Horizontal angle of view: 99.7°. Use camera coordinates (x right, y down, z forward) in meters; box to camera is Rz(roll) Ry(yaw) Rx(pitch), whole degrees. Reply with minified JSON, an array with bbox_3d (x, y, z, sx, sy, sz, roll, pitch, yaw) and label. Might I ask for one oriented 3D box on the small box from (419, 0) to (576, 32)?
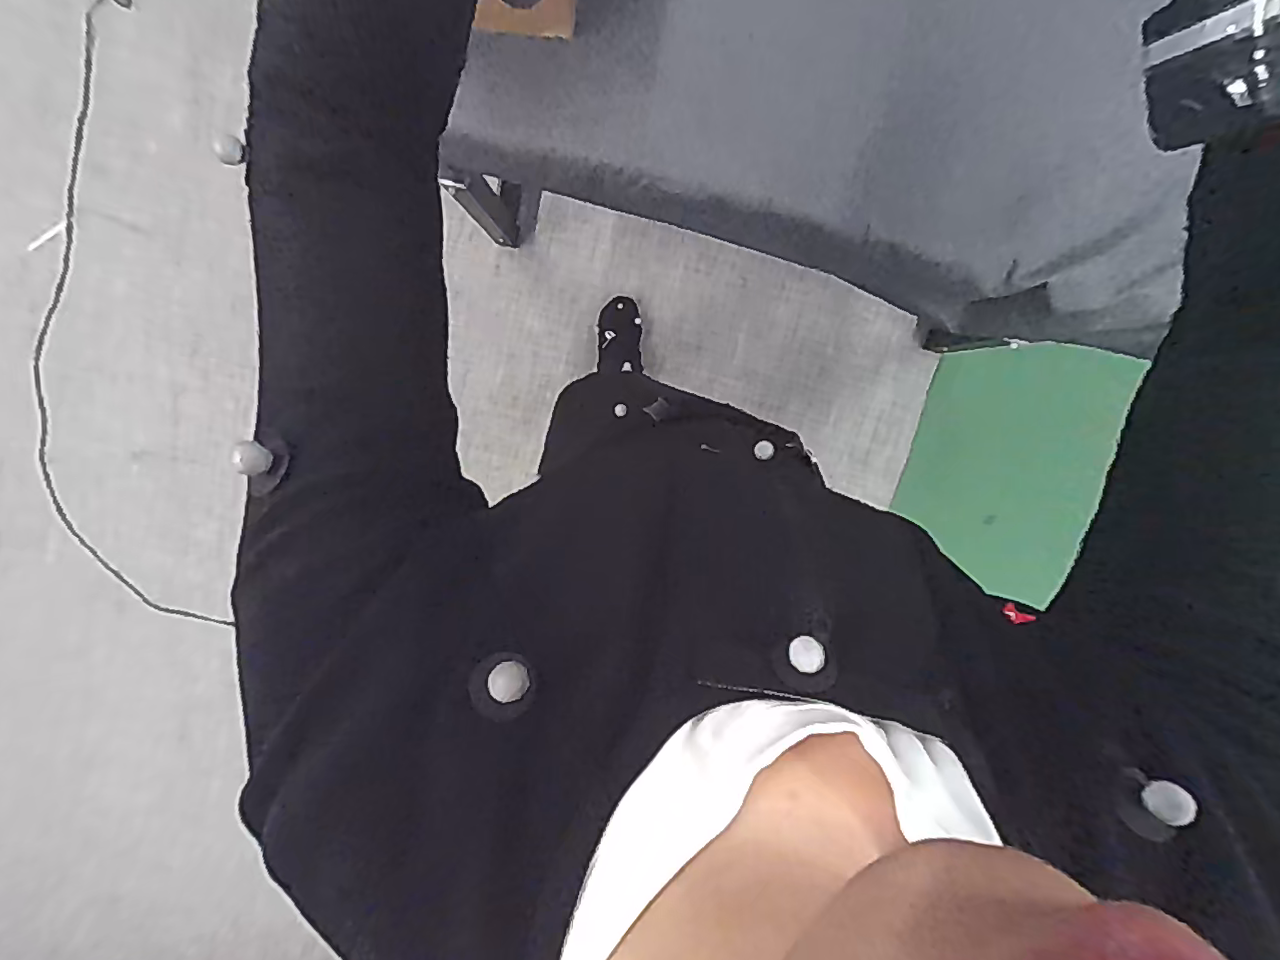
[{"bbox_3d":[-0.153,-0.586,0.529,0.179,0.176,0.168,3,100,-4],"label":"small box"}]
